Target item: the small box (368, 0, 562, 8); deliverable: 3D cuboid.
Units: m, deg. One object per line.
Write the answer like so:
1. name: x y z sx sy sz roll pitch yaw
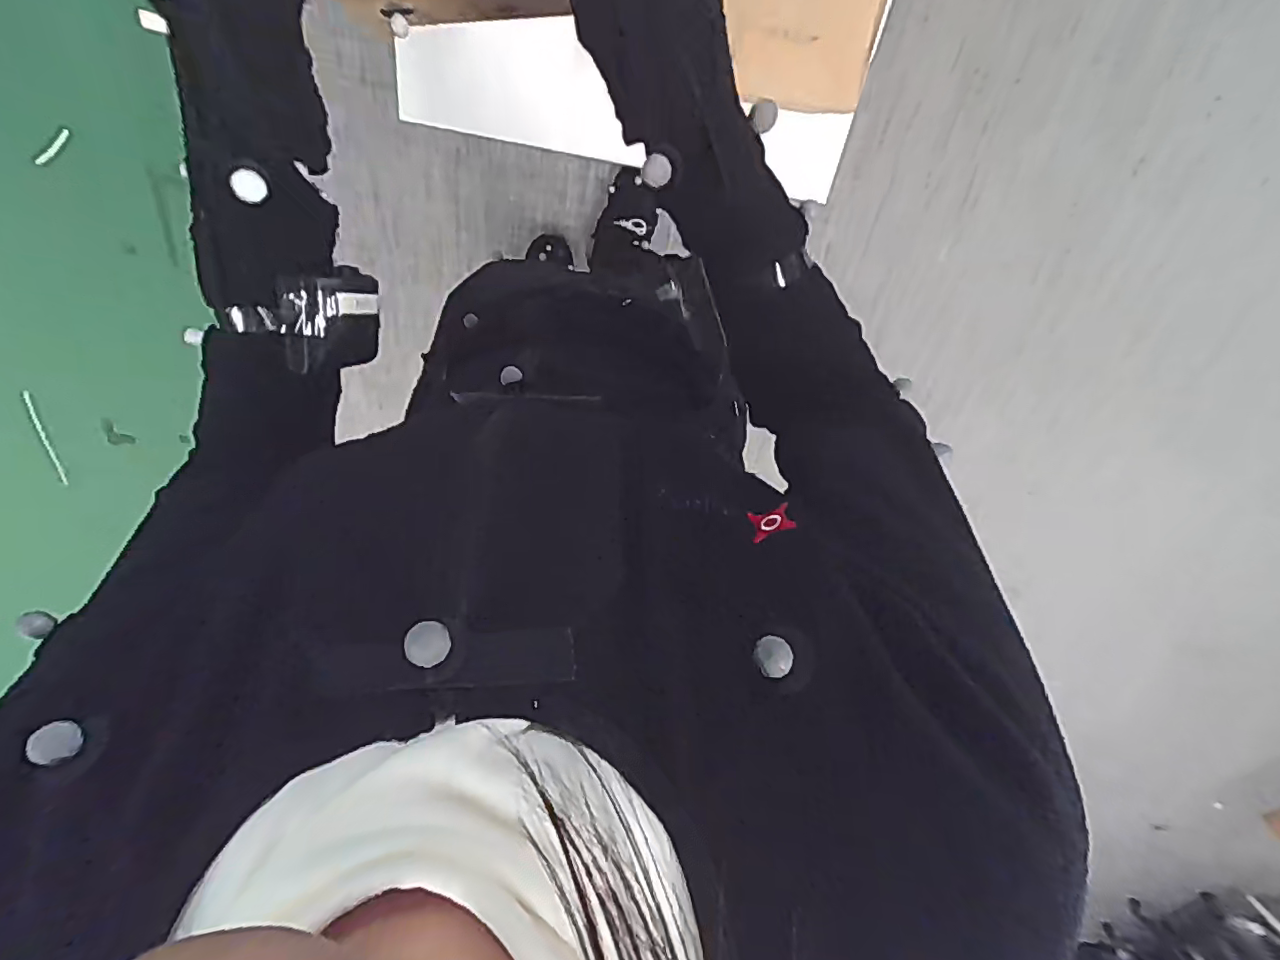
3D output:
1. small box: -0.117 -0.371 0.267 0.168 0.176 0.179 -6 113 -1

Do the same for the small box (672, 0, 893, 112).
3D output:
1. small box: 0.121 -0.440 0.475 0.168 0.176 0.179 7 125 -2
